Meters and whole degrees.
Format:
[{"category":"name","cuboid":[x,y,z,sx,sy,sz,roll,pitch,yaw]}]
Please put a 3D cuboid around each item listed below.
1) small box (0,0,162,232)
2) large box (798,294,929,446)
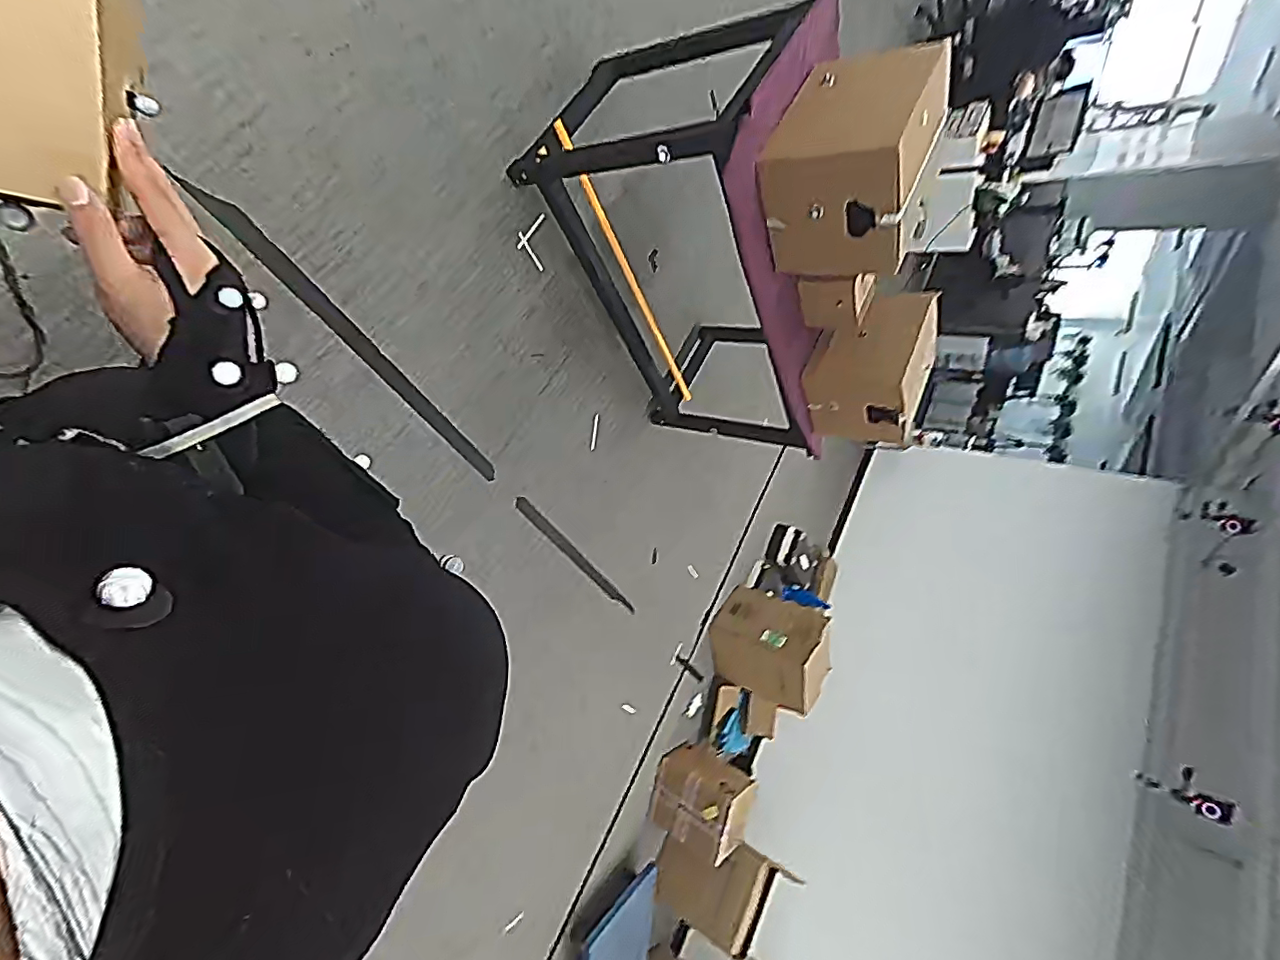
[{"category":"small box","cuboid":[-0.388,-0.248,0.301,0.179,0.176,0.168,2,107,-37]},{"category":"large box","cuboid":[0.773,-0.382,1.856,0.408,0.320,0.320,-62,145,-22]}]
